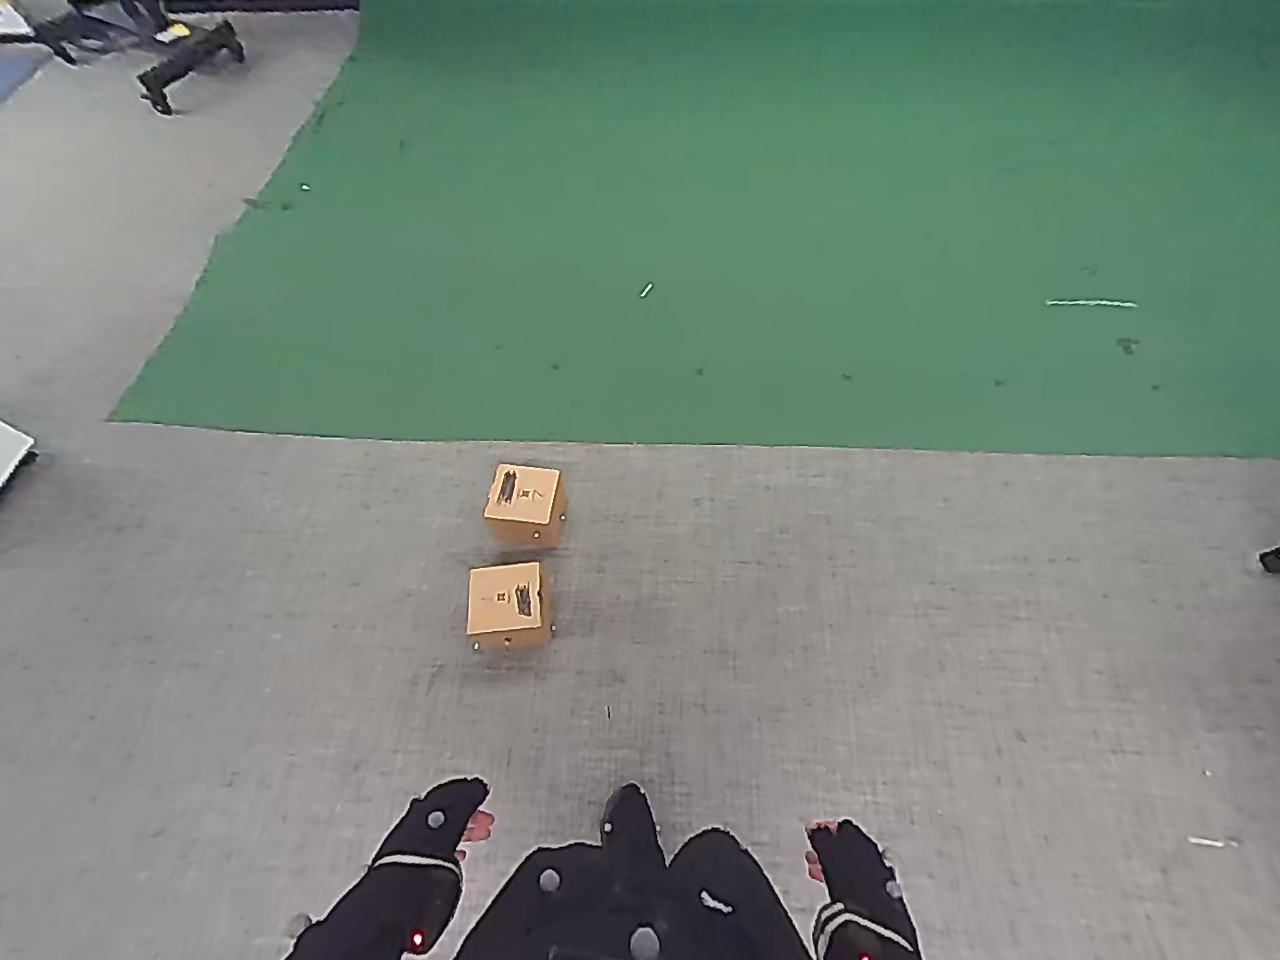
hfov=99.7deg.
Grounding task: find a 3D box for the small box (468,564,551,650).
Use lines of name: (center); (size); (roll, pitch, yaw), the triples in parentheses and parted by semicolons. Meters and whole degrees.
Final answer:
small box: (-0.322, 0.325, 1.371); (0.179, 0.176, 0.168); (-6, 60, -1)
